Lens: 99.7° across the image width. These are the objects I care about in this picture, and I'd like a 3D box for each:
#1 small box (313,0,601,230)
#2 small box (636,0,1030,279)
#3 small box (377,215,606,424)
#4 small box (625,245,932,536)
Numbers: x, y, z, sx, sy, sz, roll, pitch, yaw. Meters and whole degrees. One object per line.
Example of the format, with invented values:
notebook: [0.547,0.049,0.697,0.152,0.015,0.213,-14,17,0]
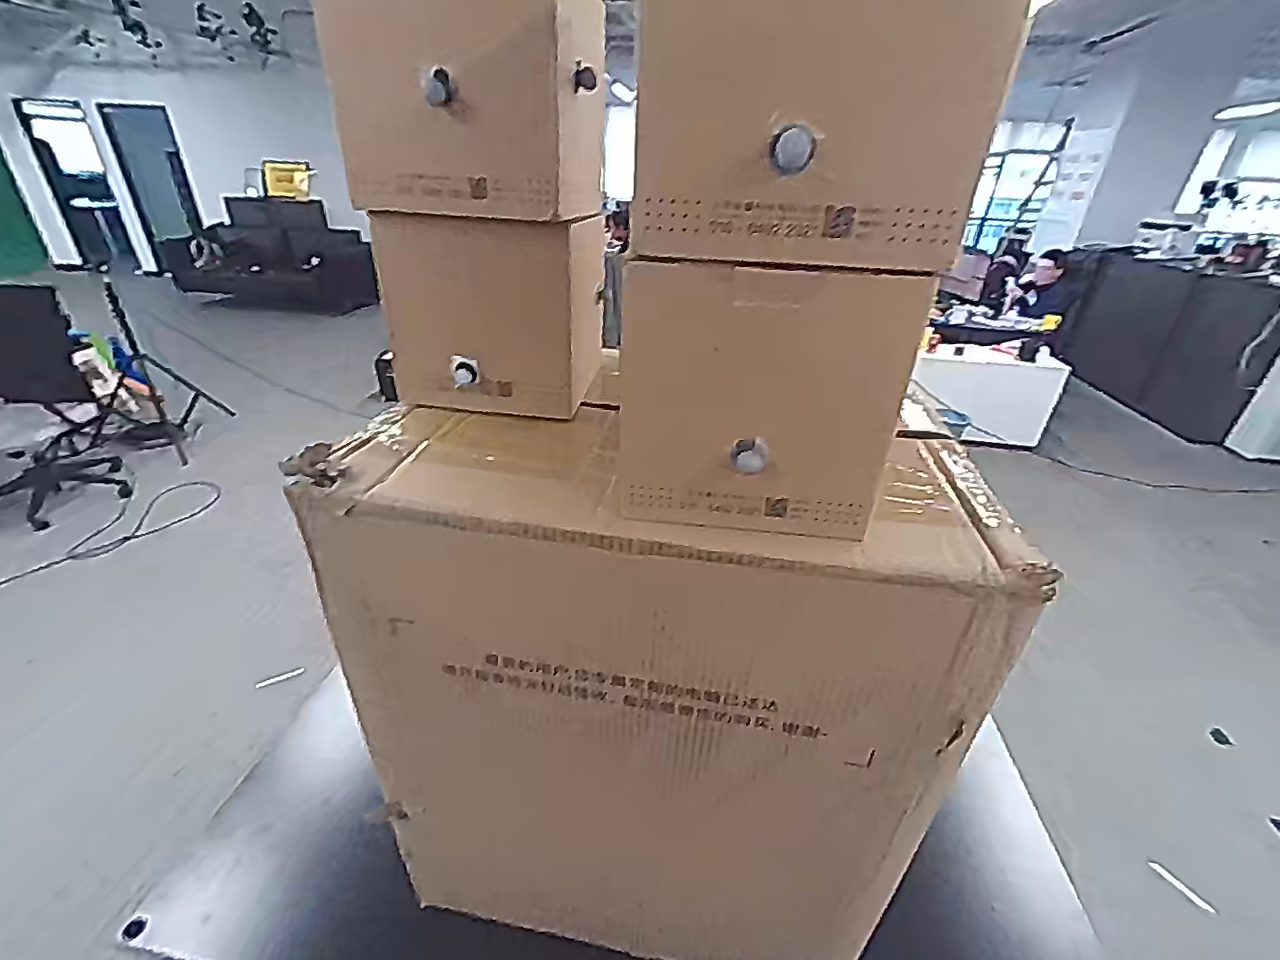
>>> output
small box: [-0.126,-0.306,0.446,0.168,0.176,0.179,5,29,4]
small box: [0.090,-0.221,0.314,0.168,0.176,0.179,5,30,7]
small box: [-0.128,-0.170,0.539,0.168,0.176,0.179,4,30,3]
small box: [0.081,-0.081,0.399,0.168,0.176,0.179,4,30,6]
